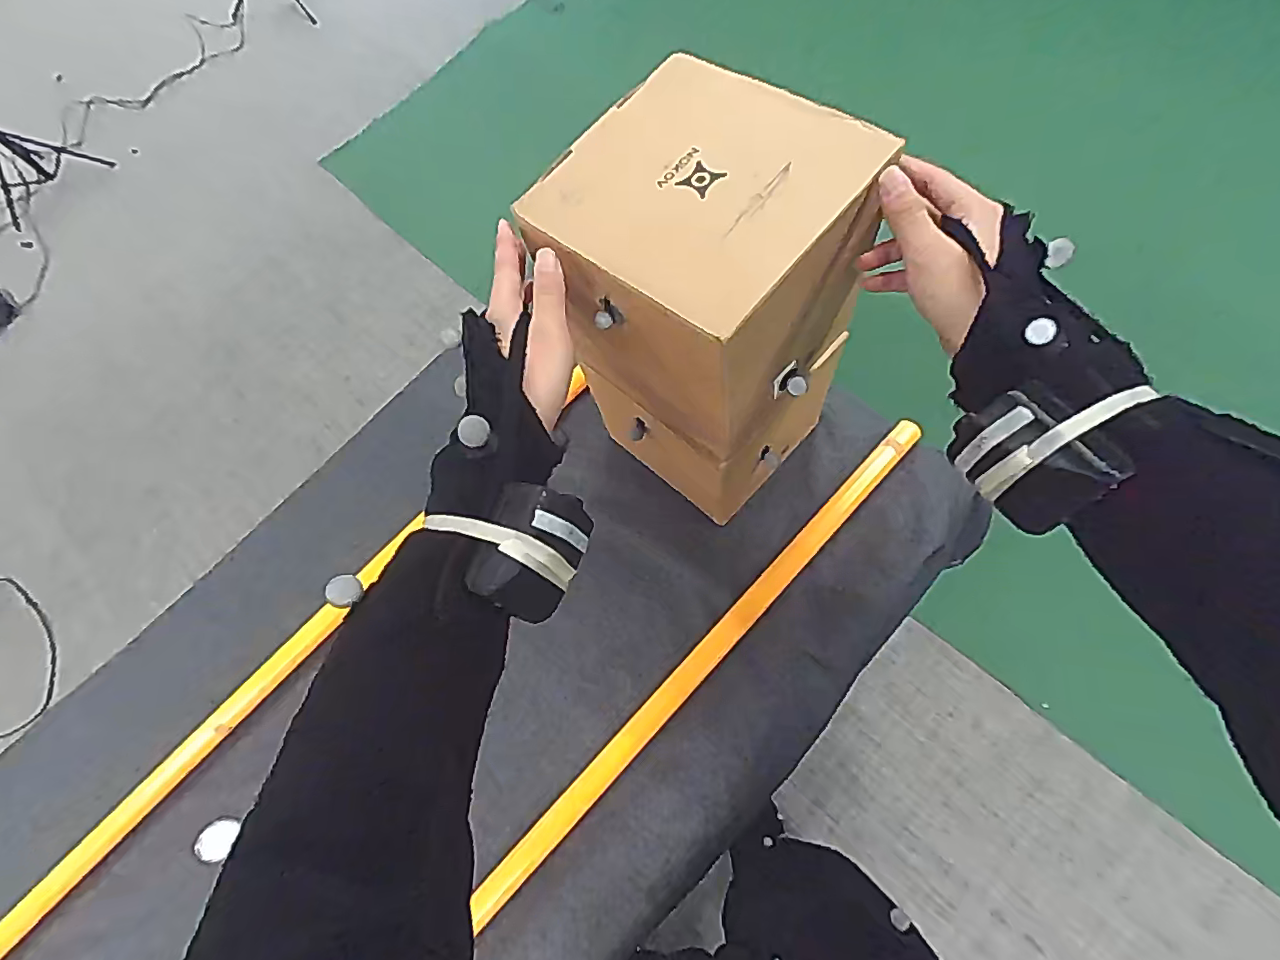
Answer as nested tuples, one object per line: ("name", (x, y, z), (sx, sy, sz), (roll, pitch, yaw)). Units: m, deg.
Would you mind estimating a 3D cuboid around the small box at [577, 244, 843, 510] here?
("small box", (0.071, -0.089, 0.546), (0.179, 0.176, 0.168), (40, 80, 22))
